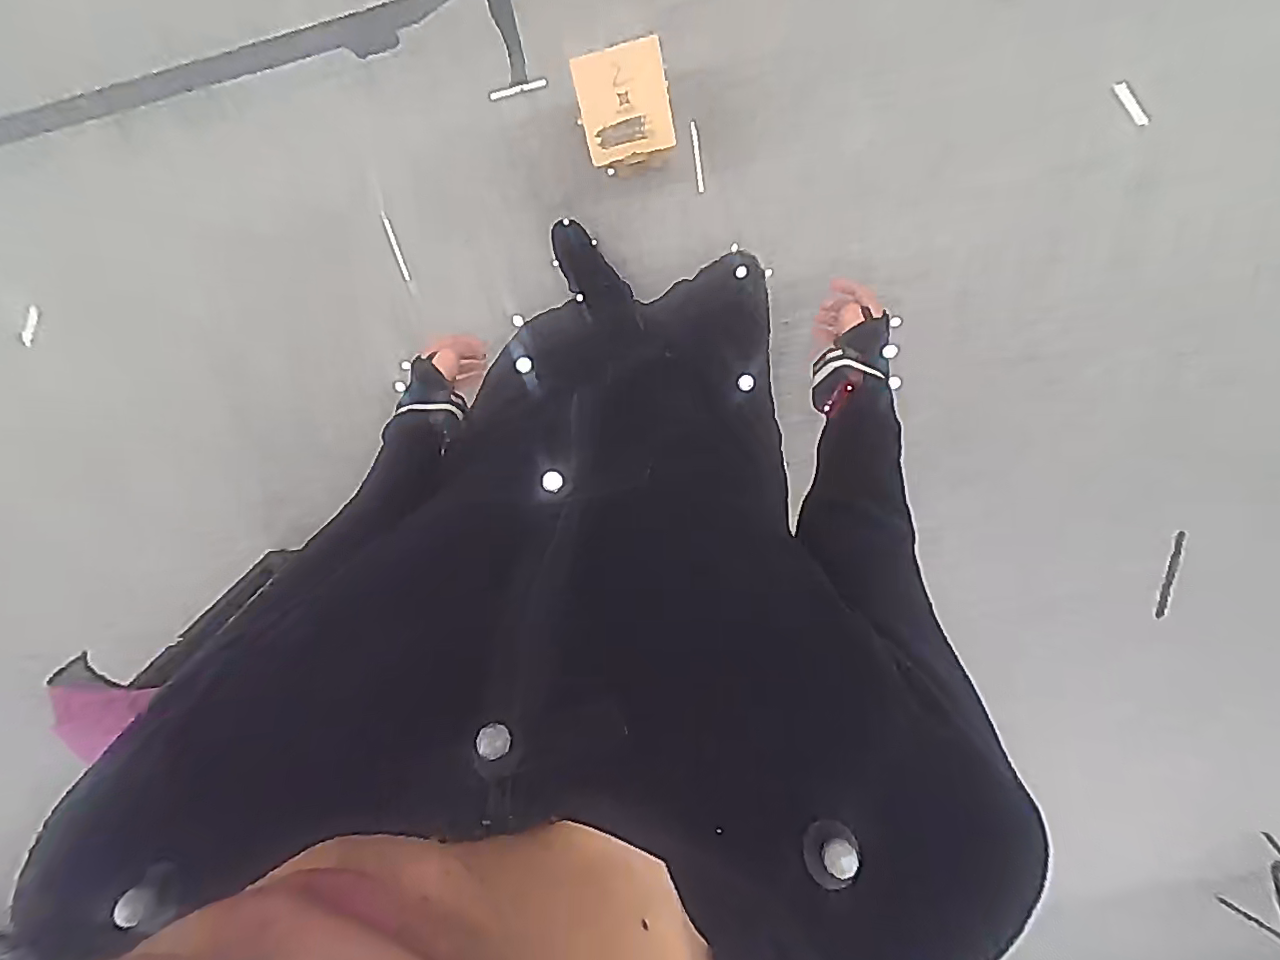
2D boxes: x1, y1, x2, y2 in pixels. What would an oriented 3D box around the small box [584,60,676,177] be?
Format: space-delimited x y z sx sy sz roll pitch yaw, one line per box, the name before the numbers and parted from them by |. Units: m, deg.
small box | -0.020 -0.799 1.215 0.168 0.176 0.179 -13 118 7
